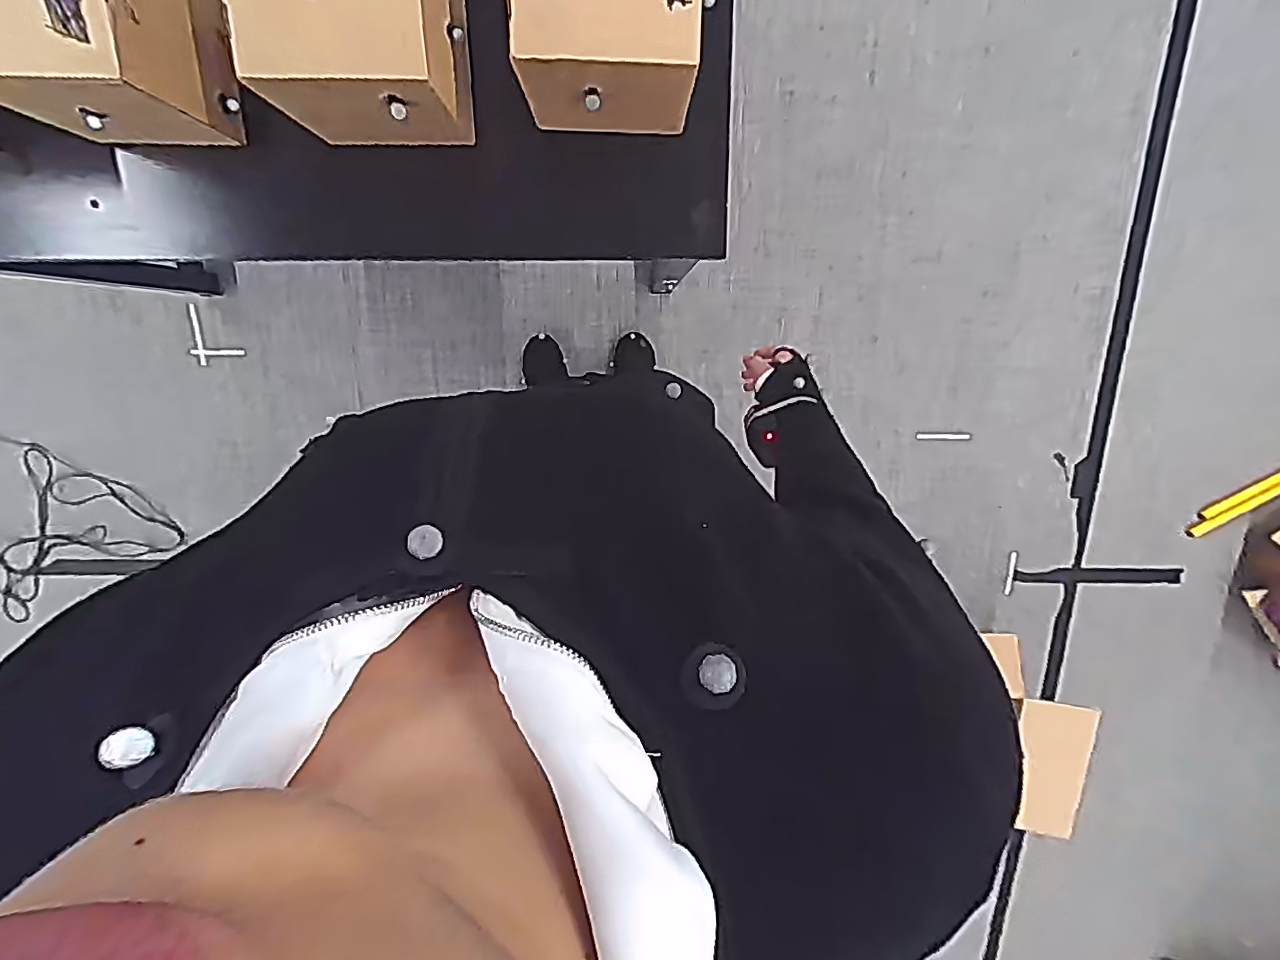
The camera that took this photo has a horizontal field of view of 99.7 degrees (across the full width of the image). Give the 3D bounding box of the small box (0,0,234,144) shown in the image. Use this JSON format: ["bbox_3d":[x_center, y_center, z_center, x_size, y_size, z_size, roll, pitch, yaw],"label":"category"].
[{"bbox_3d":[-0.553,-0.461,0.547,0.179,0.176,0.168,0,104,-1],"label":"small box"}]

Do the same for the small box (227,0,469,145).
[{"bbox_3d":[-0.283,-0.464,0.554,0.179,0.176,0.168,-1,103,-1],"label":"small box"}]

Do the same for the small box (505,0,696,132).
[{"bbox_3d":[-0.034,-0.481,0.558,0.179,0.176,0.168,1,104,0],"label":"small box"}]
